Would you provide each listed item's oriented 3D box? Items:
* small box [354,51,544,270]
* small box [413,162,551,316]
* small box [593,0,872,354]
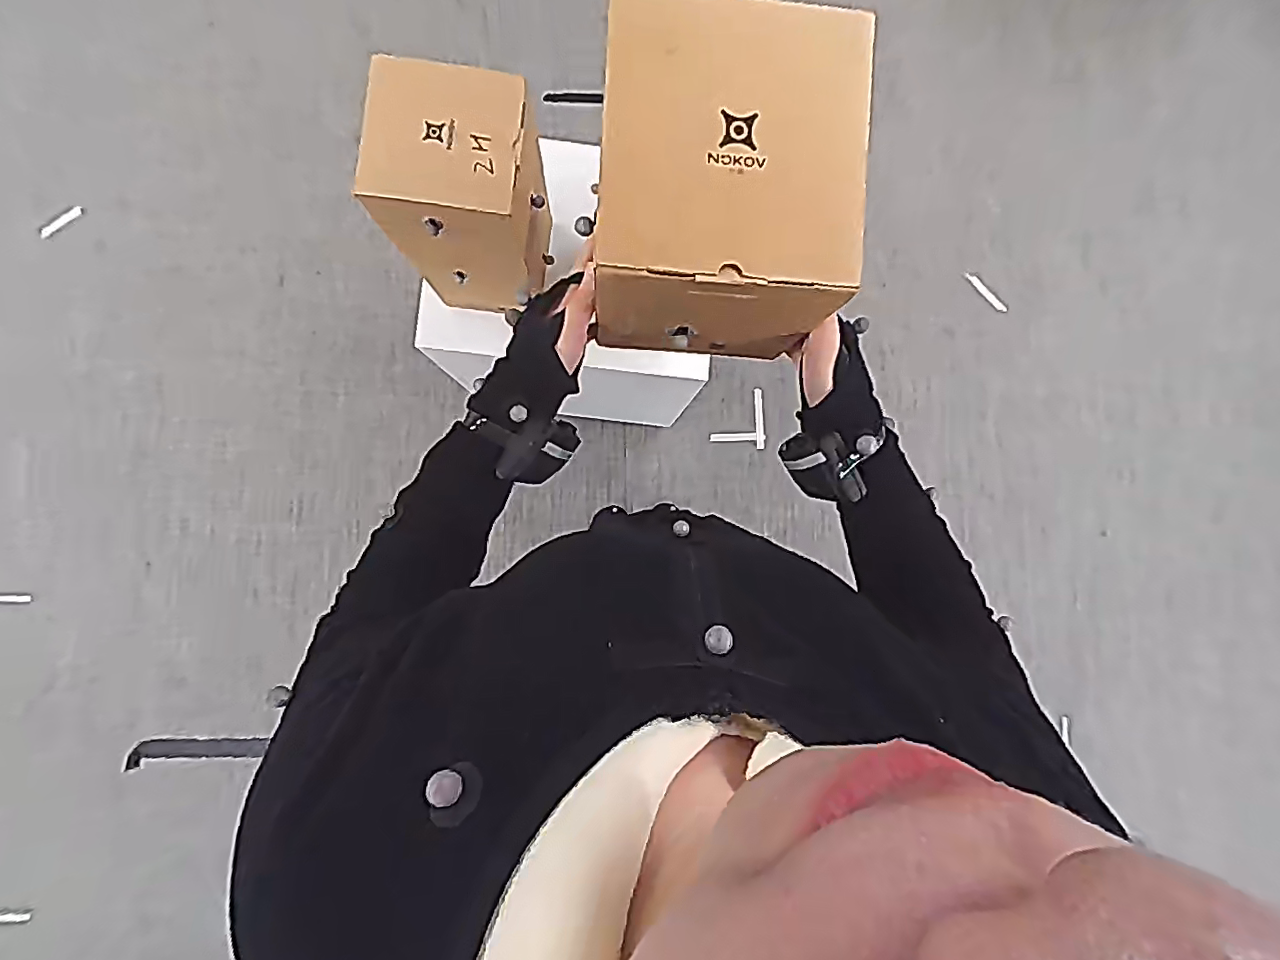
[{"bbox_3d":[-0.226,-0.385,0.682,0.179,0.176,0.168,6,88,-4],"label":"small box"},{"bbox_3d":[-0.236,-0.381,0.847,0.168,0.176,0.179,7,86,-3],"label":"small box"},{"bbox_3d":[0.052,-0.206,0.406,0.168,0.176,0.179,2,90,-4],"label":"small box"}]
